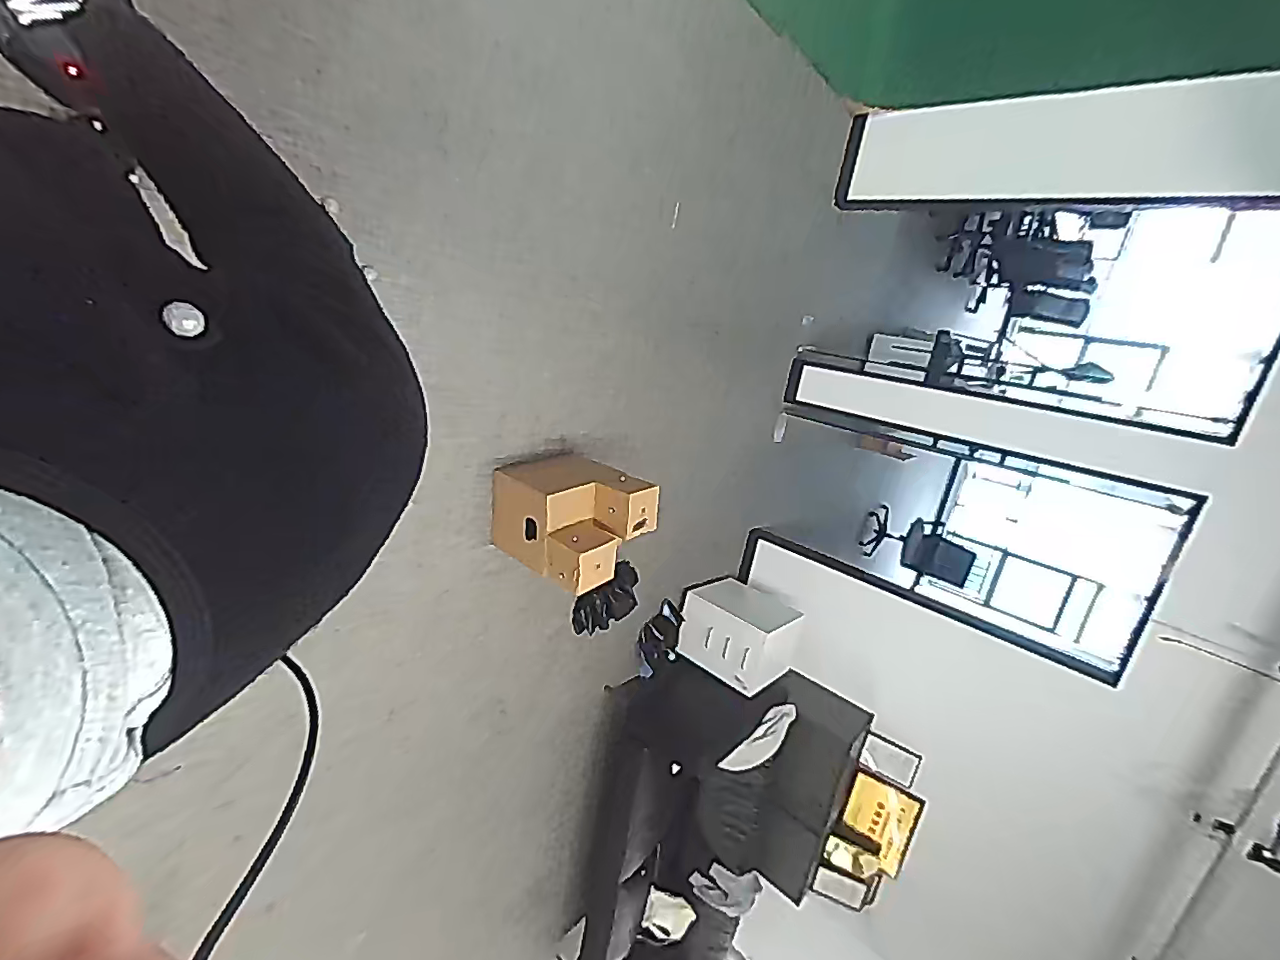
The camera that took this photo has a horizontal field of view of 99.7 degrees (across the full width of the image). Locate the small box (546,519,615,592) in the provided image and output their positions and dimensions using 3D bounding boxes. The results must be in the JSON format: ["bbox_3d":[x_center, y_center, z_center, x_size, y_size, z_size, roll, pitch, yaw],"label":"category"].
[{"bbox_3d":[-0.211,0.257,1.879,0.179,0.176,0.168,-22,127,-46],"label":"small box"}]

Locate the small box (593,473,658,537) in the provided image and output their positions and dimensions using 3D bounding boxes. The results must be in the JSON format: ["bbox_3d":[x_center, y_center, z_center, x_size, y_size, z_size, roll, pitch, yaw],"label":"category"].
[{"bbox_3d":[-0.057,0.088,1.984,0.168,0.176,0.179,-15,116,-47],"label":"small box"}]
